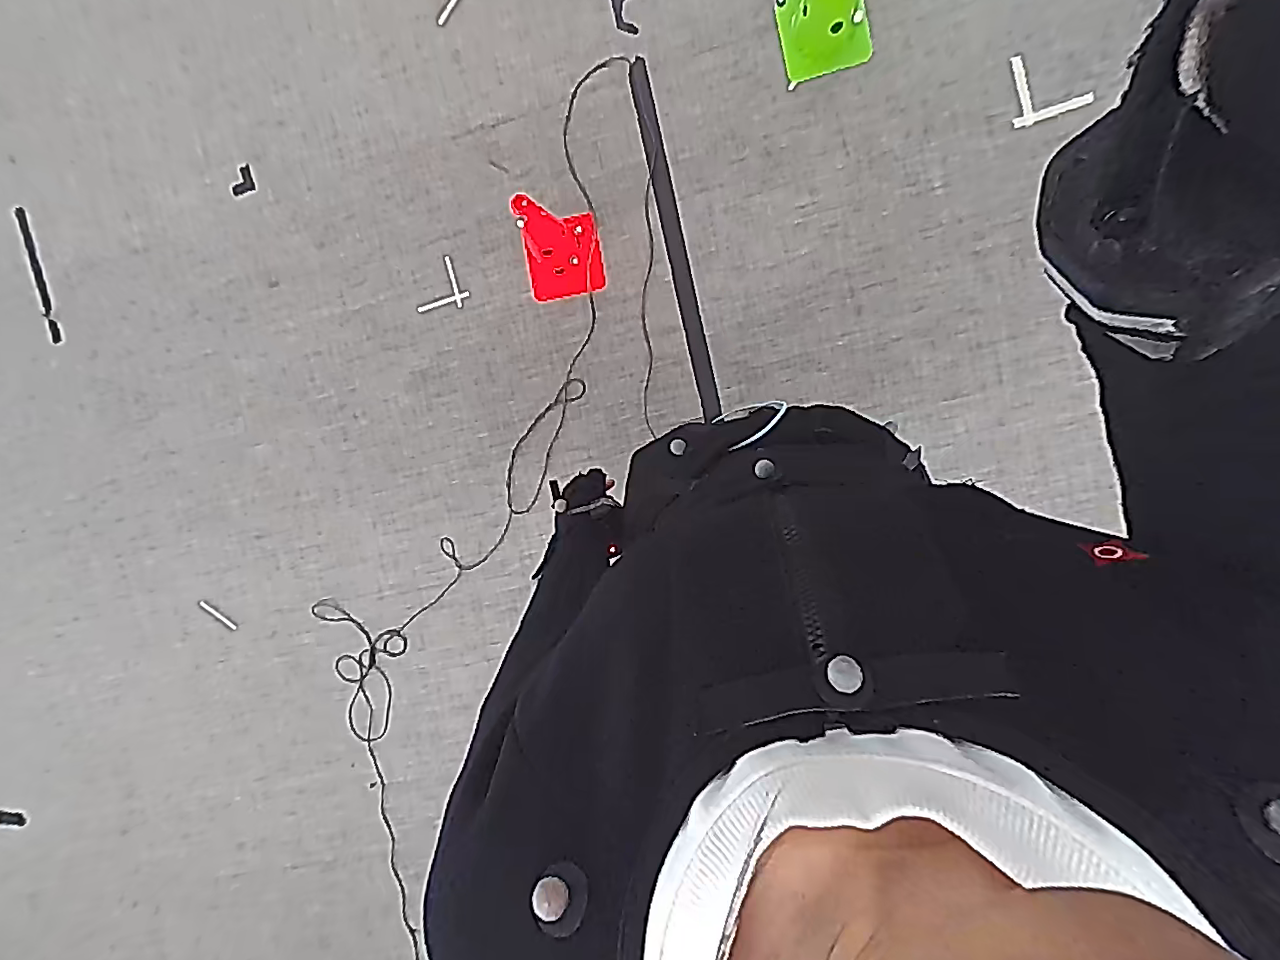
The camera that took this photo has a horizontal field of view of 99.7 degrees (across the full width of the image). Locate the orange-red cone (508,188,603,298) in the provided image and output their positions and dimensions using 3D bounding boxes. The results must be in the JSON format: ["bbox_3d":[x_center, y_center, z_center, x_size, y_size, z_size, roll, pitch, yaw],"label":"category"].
[{"bbox_3d":[-0.224,-0.570,1.240,0.199,0.360,0.198,-8,93,9],"label":"orange-red cone"}]

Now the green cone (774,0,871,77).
[{"bbox_3d":[0.414,-1.059,1.110,0.202,0.368,0.200,-13,94,7],"label":"green cone"}]
